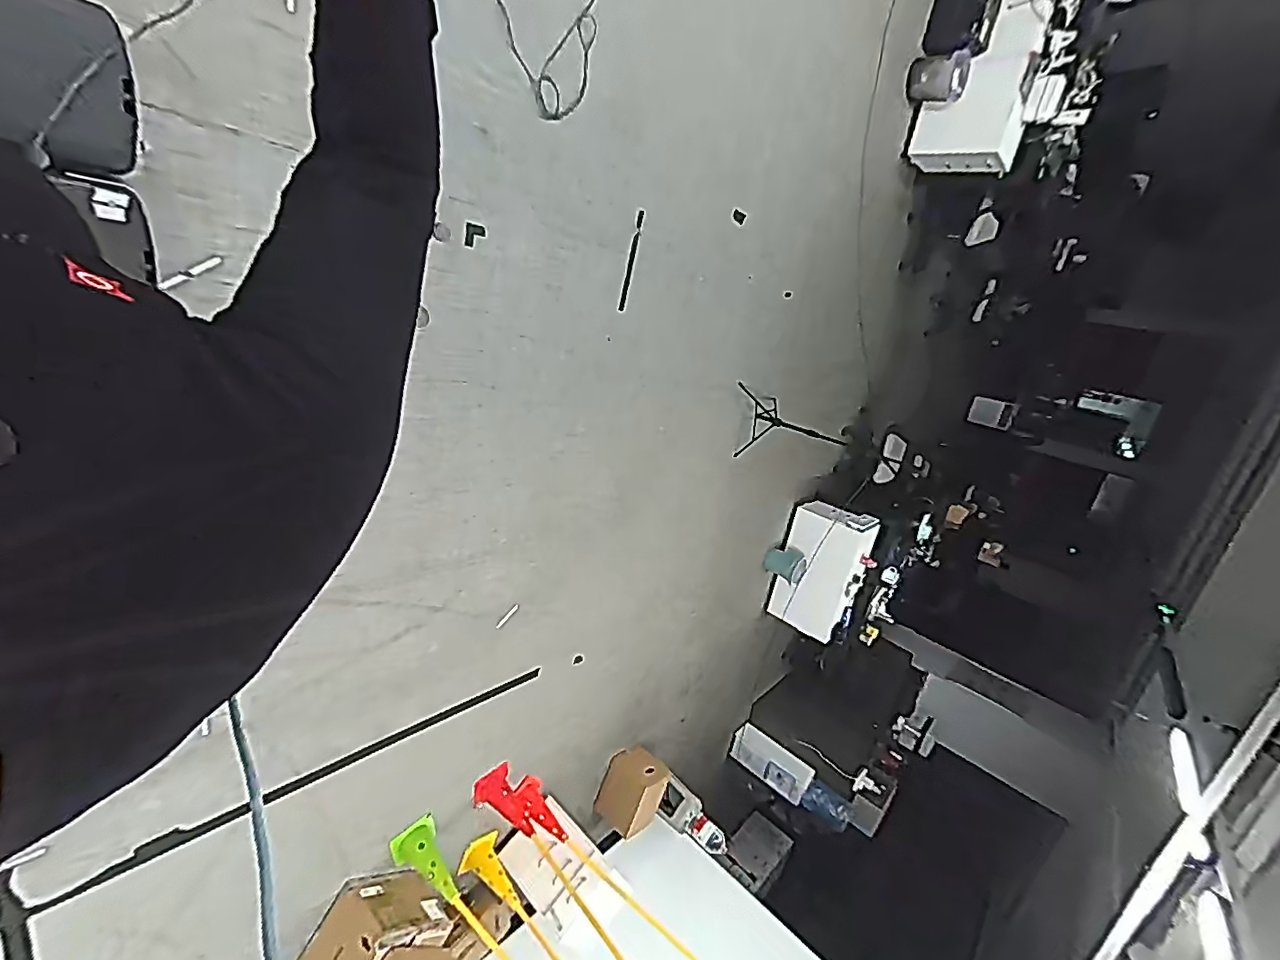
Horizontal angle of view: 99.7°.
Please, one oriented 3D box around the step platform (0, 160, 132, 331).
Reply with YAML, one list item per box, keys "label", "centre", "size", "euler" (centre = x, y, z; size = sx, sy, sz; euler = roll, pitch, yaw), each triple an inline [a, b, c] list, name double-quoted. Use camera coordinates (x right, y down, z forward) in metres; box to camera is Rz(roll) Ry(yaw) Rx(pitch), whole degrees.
- label: "step platform"
  centre: [-1.279, -0.409, 0.863]
  size: [0.684, 0.204, 0.286]
  euler: [-11, 118, -46]
